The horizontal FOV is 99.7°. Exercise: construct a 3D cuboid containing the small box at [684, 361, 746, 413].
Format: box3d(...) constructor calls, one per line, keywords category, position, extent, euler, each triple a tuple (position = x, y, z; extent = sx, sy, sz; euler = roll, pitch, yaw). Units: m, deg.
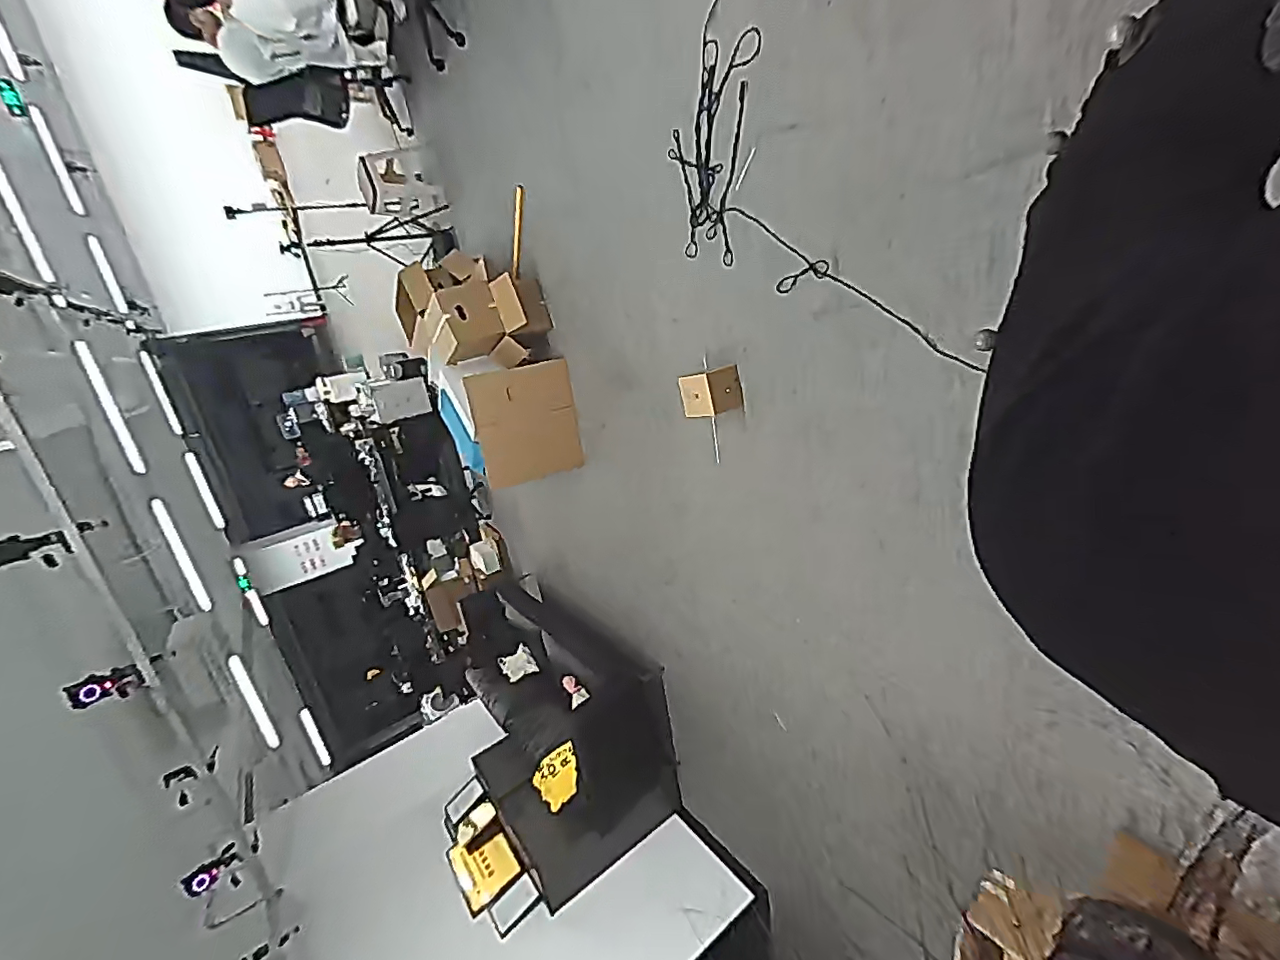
box3d(category="small box", position=(0.308, -0.371, 2.163), extent=(0.179, 0.176, 0.168), euler=(6, 115, 57))
